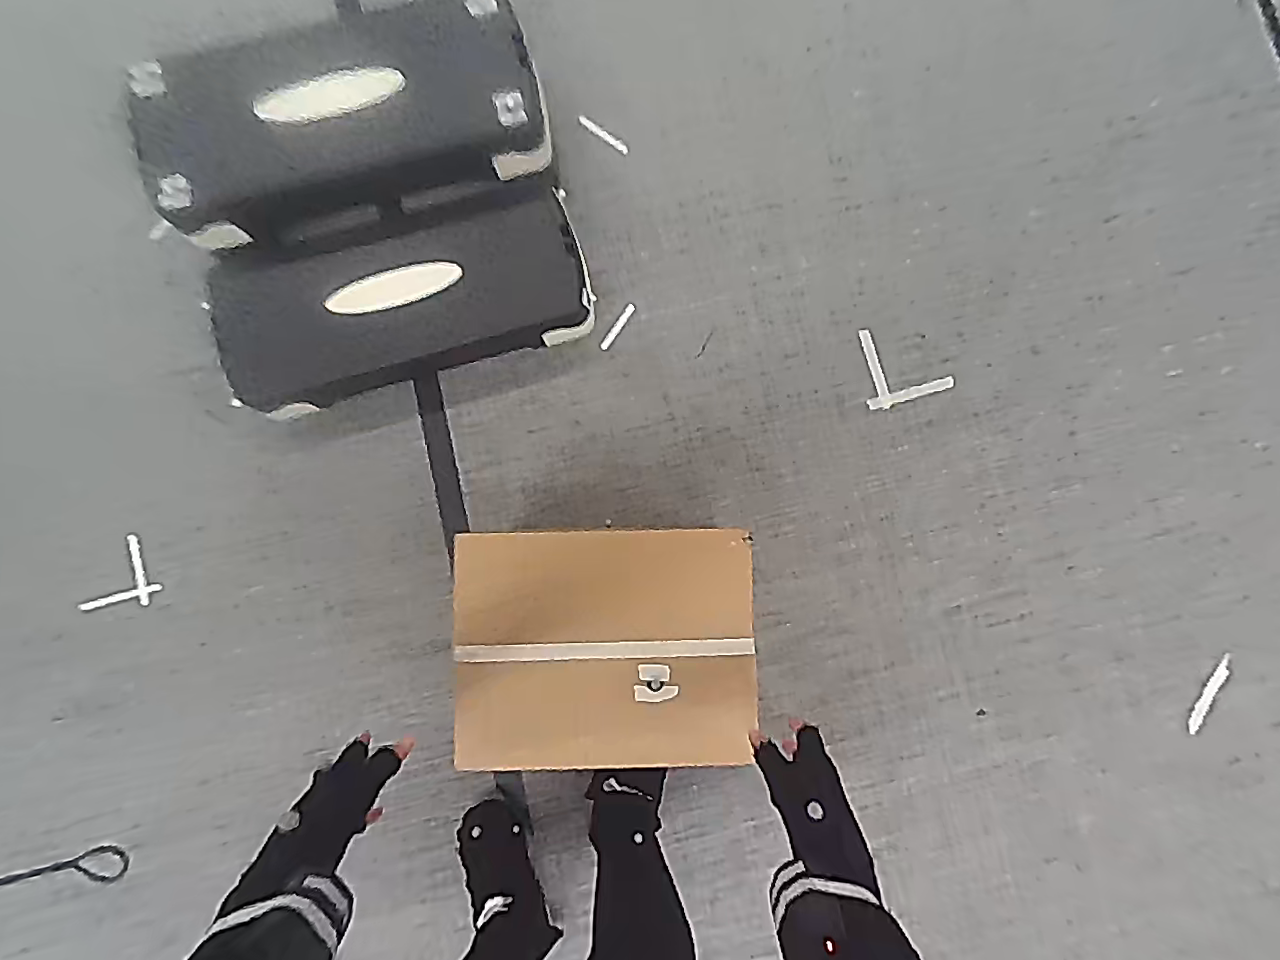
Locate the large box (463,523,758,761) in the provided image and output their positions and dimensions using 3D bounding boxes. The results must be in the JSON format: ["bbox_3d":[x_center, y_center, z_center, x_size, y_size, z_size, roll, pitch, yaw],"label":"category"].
[{"bbox_3d":[-0.046,0.232,0.887,0.408,0.320,0.320,-1,86,-1],"label":"large box"}]

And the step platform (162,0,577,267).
[{"bbox_3d":[-0.472,-0.637,0.994,0.684,0.204,0.286,-15,87,-2],"label":"step platform"}]
